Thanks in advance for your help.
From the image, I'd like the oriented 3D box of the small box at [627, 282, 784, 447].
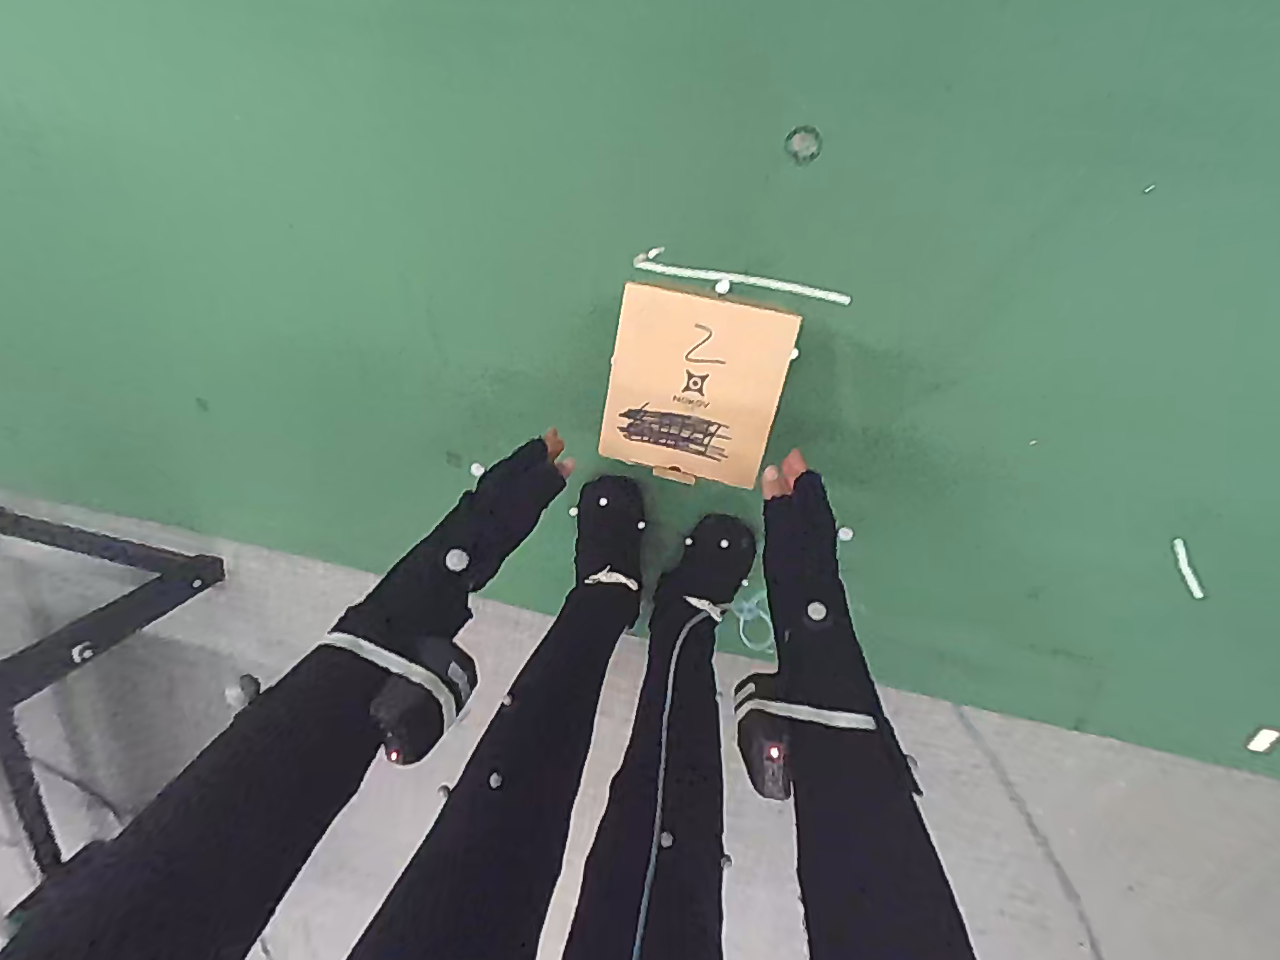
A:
[{"bbox_3d":[0.090,-0.167,0.750,0.168,0.176,0.179,13,112,4],"label":"small box"}]
